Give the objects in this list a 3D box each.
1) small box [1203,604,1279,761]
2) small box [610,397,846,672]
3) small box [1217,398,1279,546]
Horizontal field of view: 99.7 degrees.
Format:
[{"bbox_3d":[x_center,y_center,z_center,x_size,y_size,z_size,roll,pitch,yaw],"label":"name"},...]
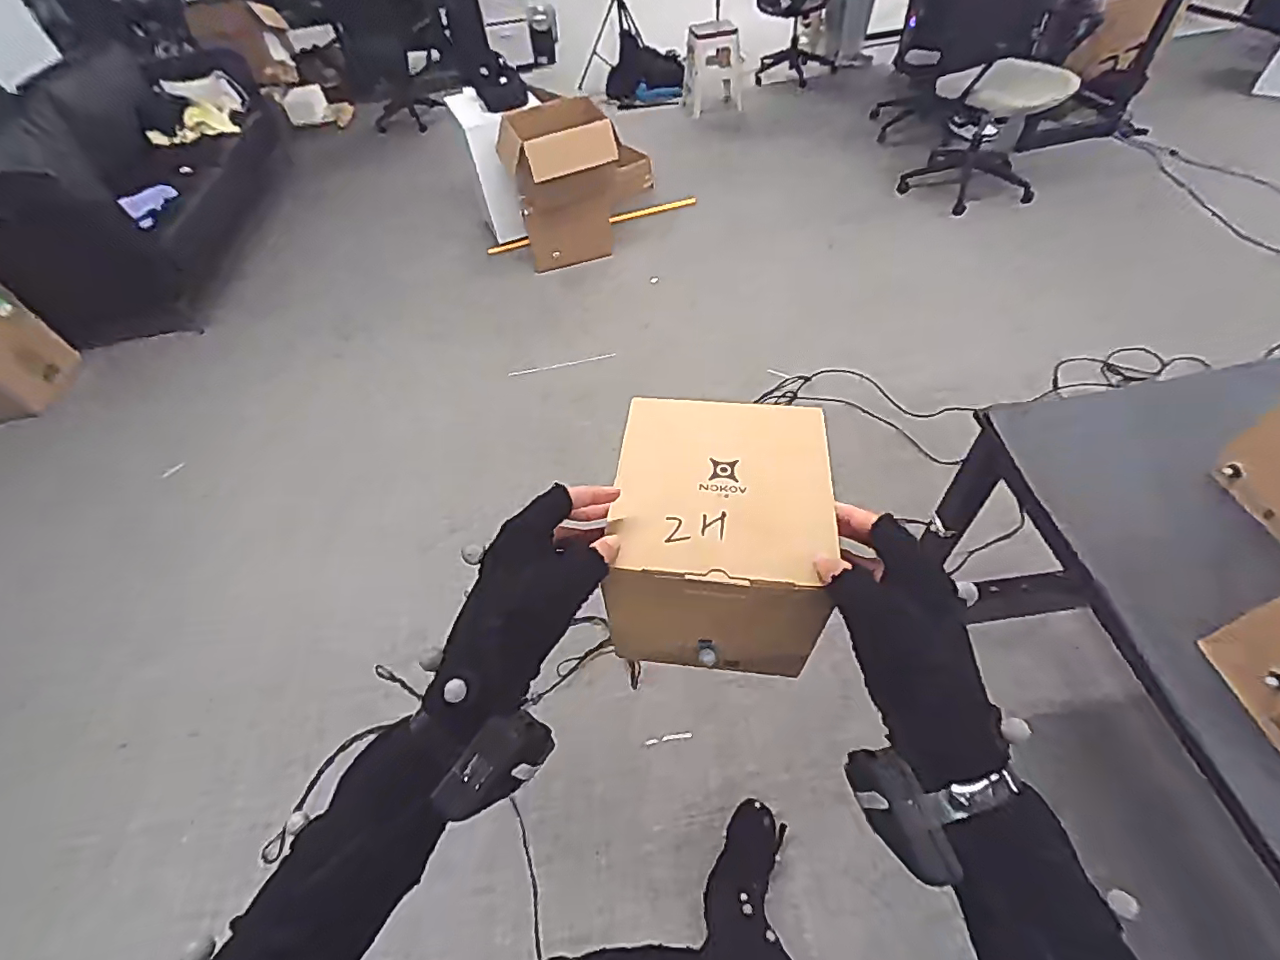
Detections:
[{"bbox_3d":[0.777,0.206,0.561,0.179,0.176,0.168,-7,51,0],"label":"small box"},{"bbox_3d":[0.074,0.048,0.486,0.168,0.176,0.179,4,50,8],"label":"small box"},{"bbox_3d":[0.950,-0.013,0.721,0.179,0.176,0.168,-7,51,0],"label":"small box"}]
